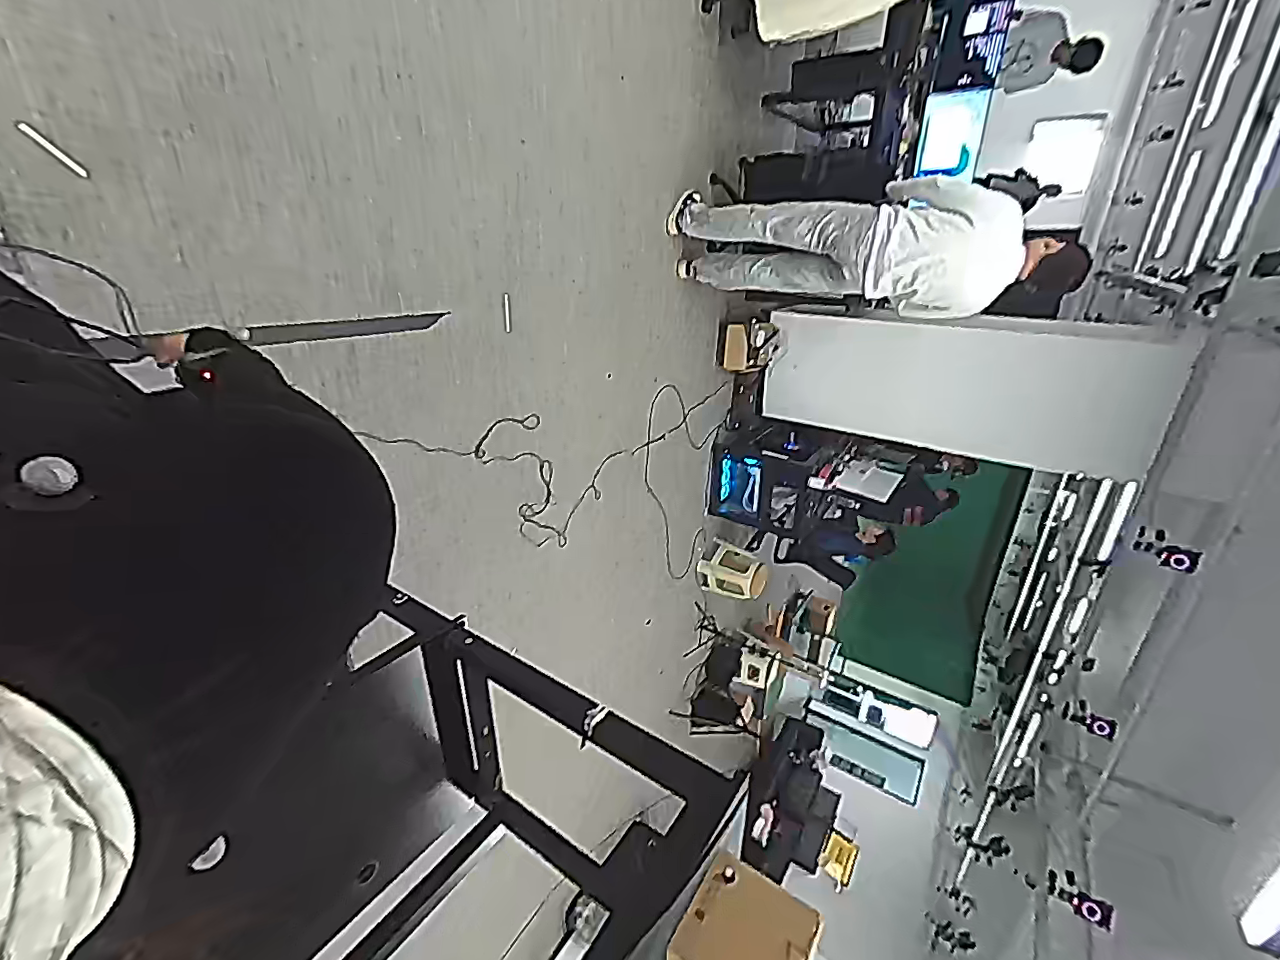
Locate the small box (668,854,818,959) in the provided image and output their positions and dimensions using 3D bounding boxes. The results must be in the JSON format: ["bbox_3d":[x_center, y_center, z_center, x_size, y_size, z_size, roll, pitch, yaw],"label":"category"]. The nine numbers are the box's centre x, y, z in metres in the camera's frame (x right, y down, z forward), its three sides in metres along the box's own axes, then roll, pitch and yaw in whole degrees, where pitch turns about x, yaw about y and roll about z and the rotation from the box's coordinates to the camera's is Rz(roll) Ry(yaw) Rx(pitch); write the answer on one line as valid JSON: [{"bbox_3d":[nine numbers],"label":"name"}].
[{"bbox_3d":[0.149,0.712,0.811,0.168,0.176,0.179,-31,130,-48],"label":"small box"}]
